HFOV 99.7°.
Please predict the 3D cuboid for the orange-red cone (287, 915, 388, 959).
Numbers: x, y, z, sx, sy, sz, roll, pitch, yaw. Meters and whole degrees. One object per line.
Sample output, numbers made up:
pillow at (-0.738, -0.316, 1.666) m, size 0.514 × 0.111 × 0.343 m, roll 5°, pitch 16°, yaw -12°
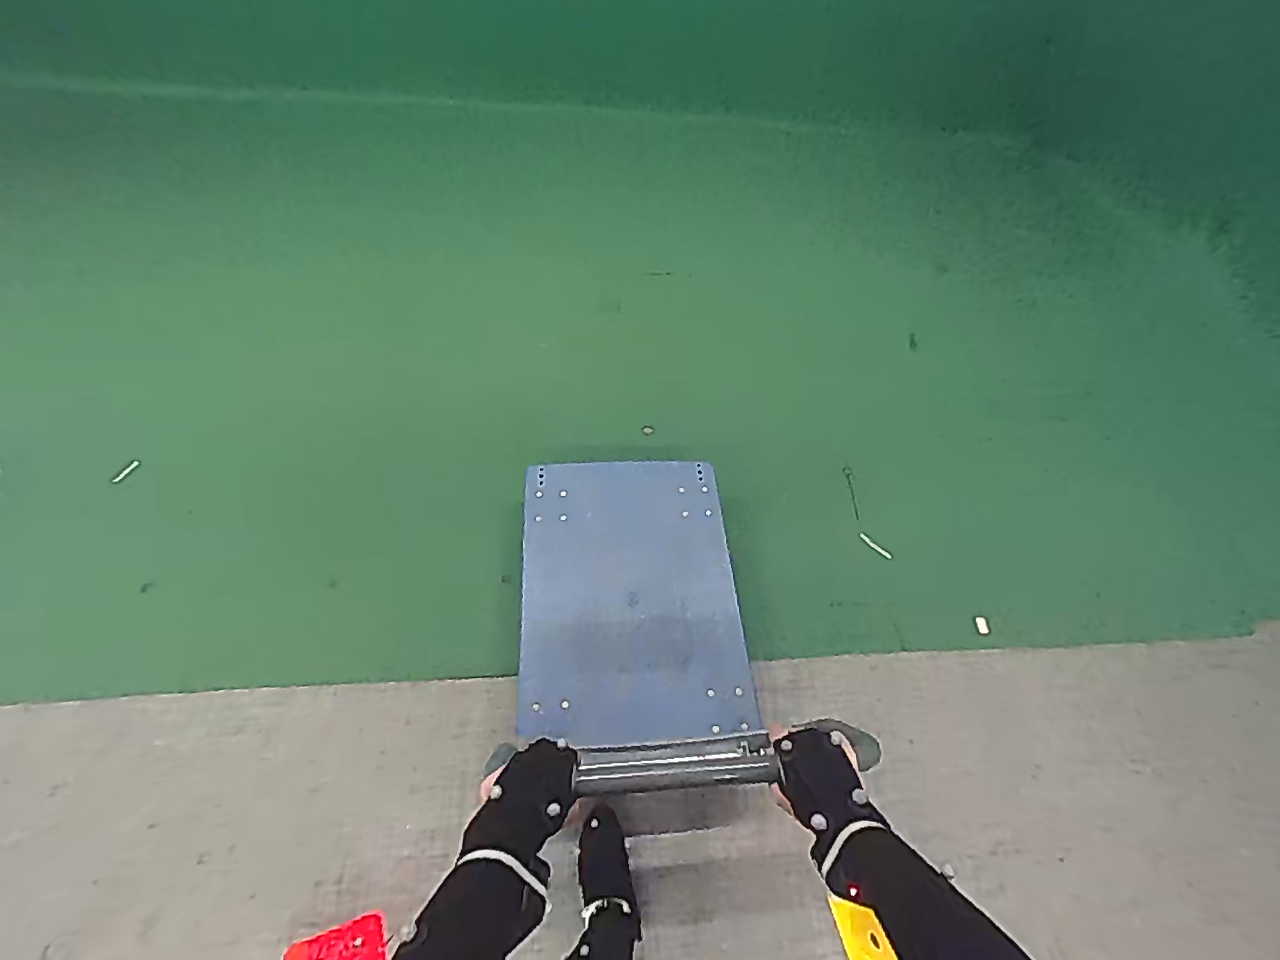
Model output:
orange-red cone at (-0.608, 0.950, 0.964) m, size 0.199 × 0.360 × 0.198 m, roll -15°, pitch 60°, yaw -13°
